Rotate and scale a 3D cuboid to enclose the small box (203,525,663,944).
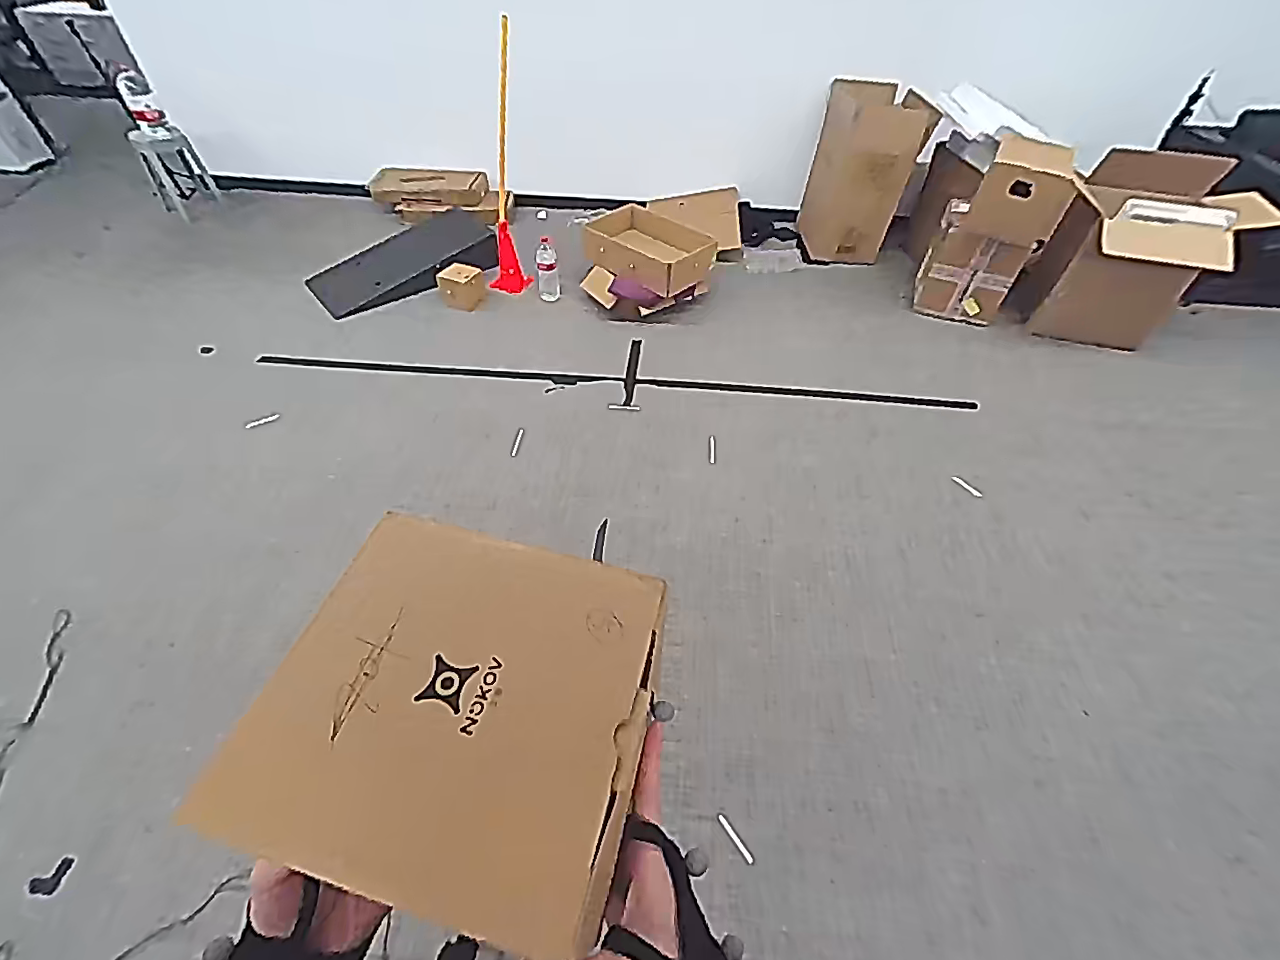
[{"bbox_3d":[-0.090,0.155,0.334,0.179,0.176,0.168,10,50,8],"label":"small box"}]
